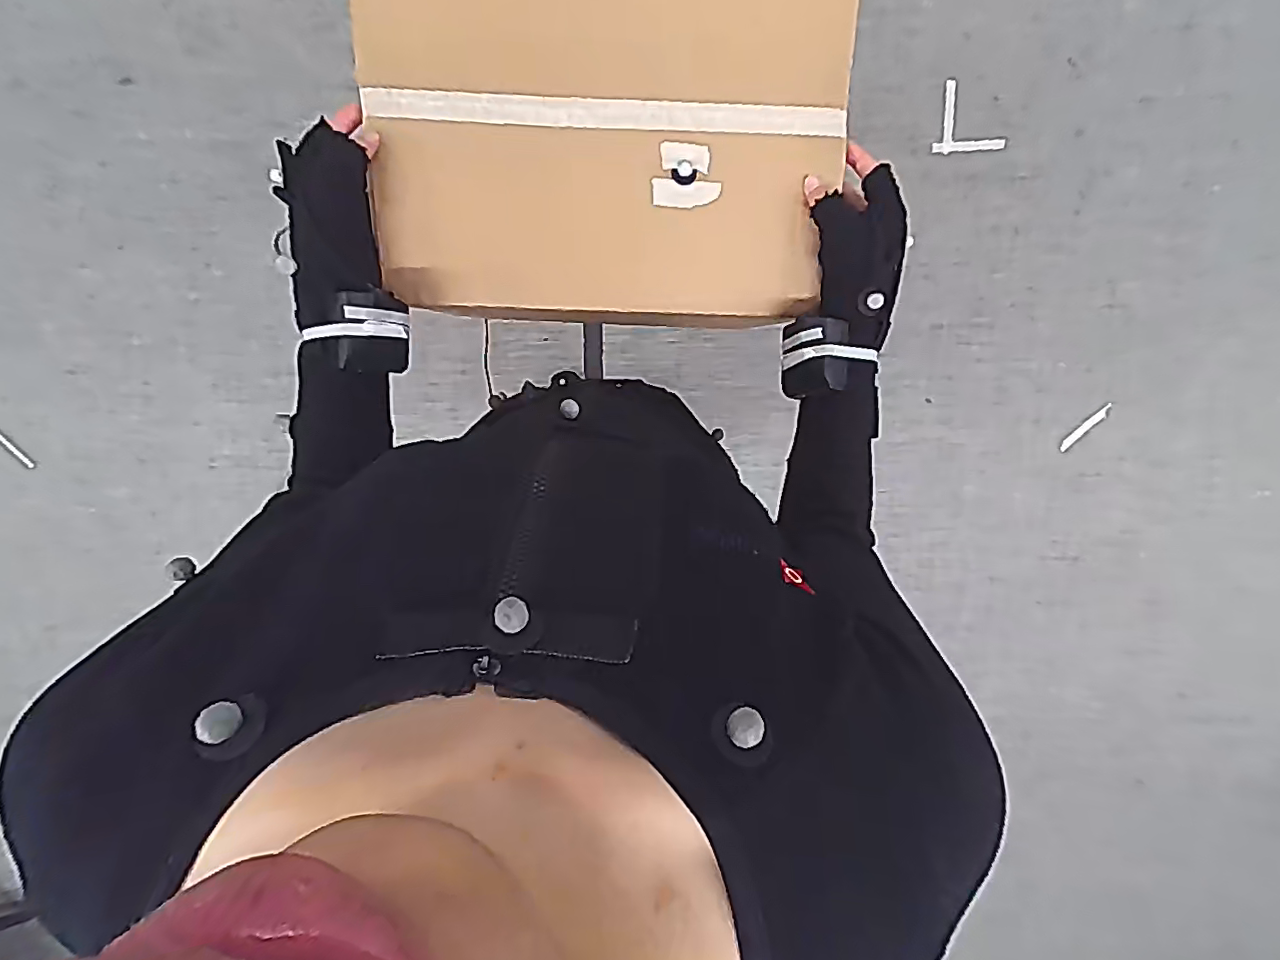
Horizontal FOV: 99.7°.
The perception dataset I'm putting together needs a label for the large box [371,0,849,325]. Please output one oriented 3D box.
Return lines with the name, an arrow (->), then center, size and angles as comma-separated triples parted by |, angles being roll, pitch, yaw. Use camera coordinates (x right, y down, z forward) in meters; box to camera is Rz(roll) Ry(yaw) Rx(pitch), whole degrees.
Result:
large box -> -0.031, -0.346, 0.612 | 0.408, 0.320, 0.320 | 1, 104, -2
